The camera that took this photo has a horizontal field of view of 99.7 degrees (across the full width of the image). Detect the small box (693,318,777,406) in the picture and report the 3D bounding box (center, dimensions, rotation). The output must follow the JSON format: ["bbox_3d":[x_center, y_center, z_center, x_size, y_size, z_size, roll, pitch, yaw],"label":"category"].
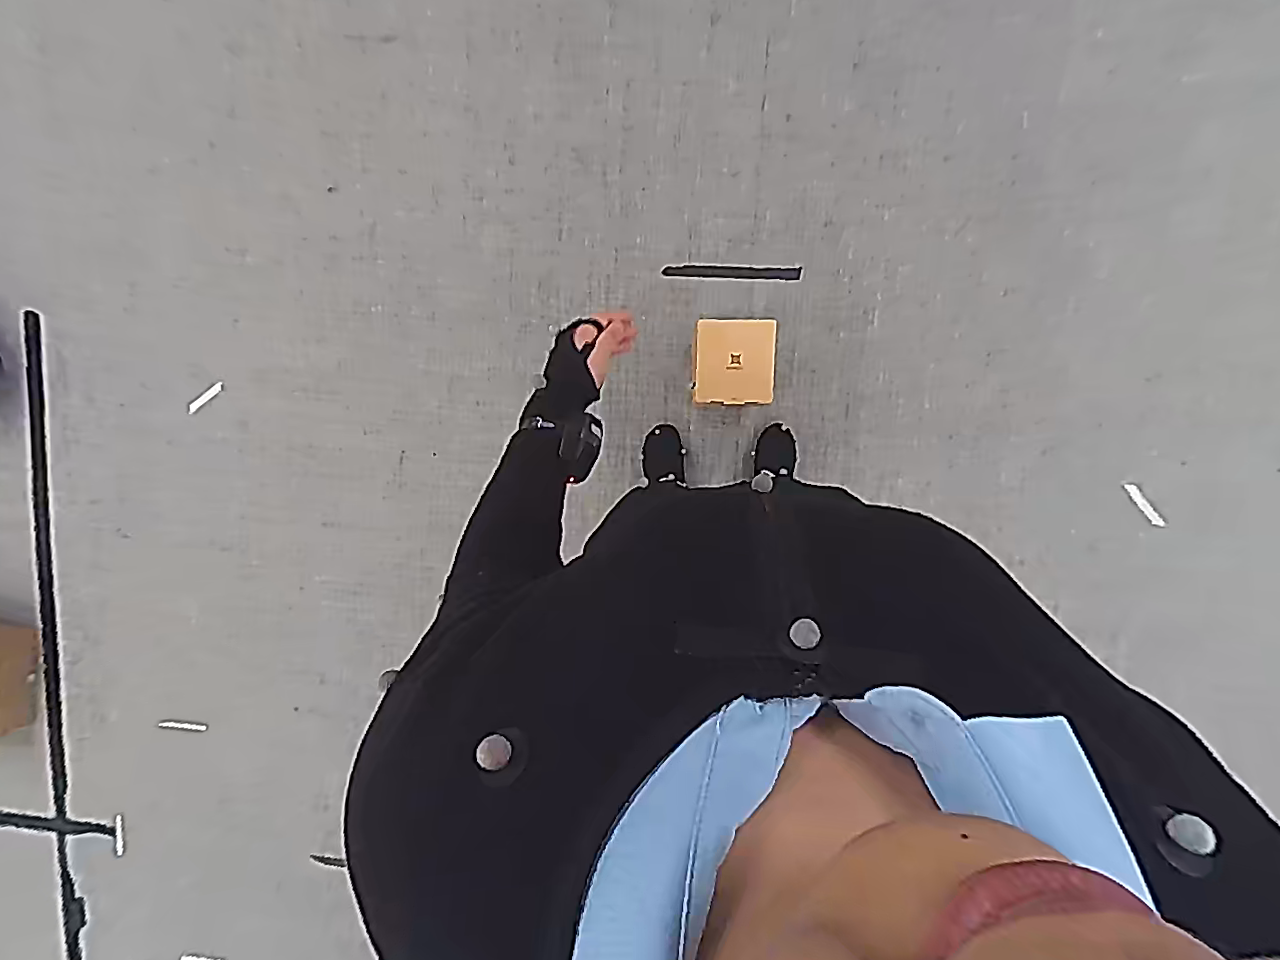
[{"bbox_3d":[0.206,-0.259,1.214,0.168,0.176,0.179,1,97,4],"label":"small box"}]
